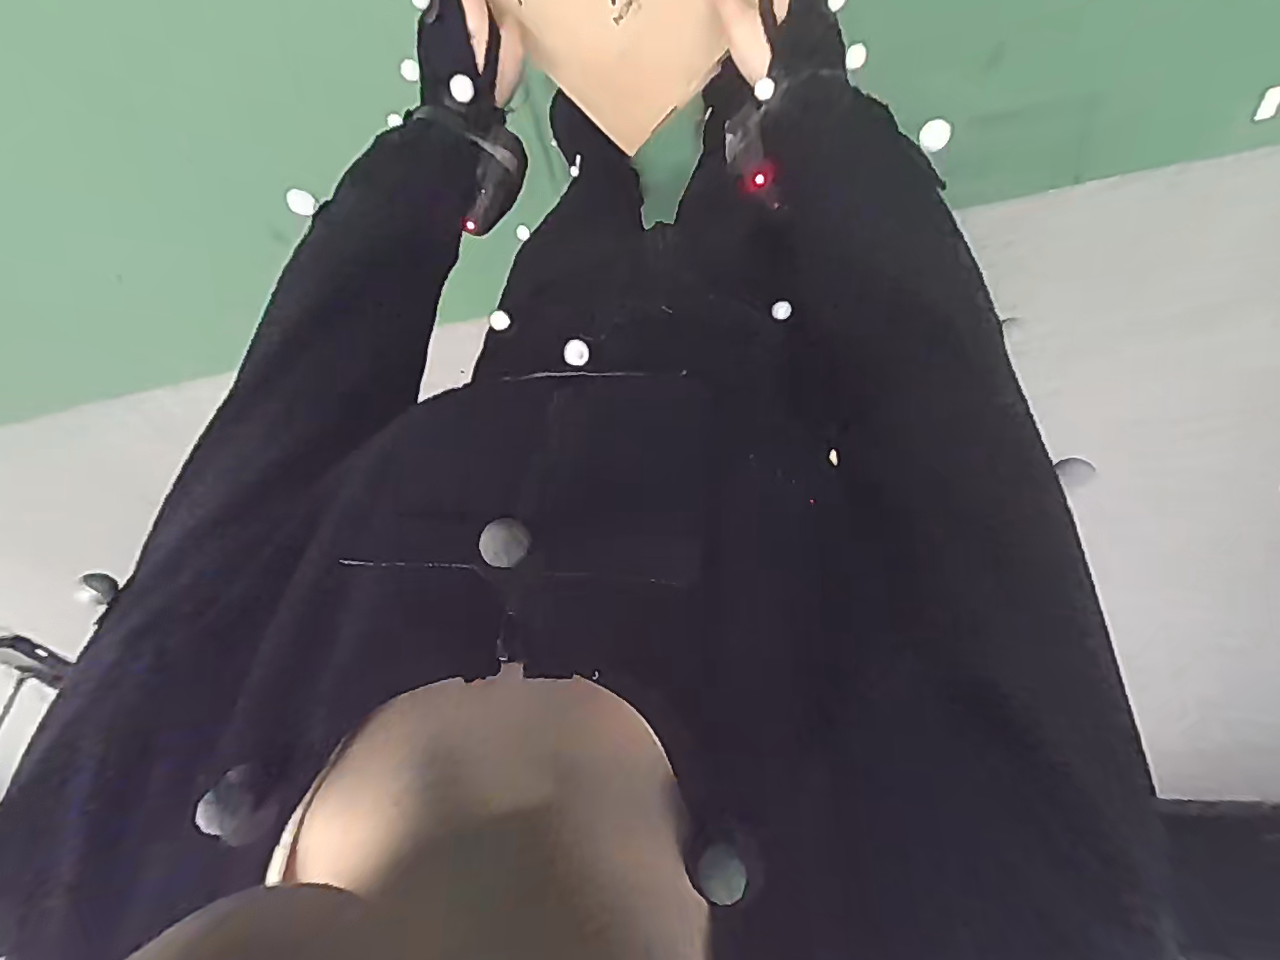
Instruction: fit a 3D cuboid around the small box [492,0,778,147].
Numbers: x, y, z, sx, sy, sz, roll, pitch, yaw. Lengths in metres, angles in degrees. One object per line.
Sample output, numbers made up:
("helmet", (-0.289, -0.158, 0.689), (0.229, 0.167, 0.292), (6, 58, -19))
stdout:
("small box", (-0.003, -0.437, 0.447), (0.179, 0.176, 0.168), (30, 139, -32))
